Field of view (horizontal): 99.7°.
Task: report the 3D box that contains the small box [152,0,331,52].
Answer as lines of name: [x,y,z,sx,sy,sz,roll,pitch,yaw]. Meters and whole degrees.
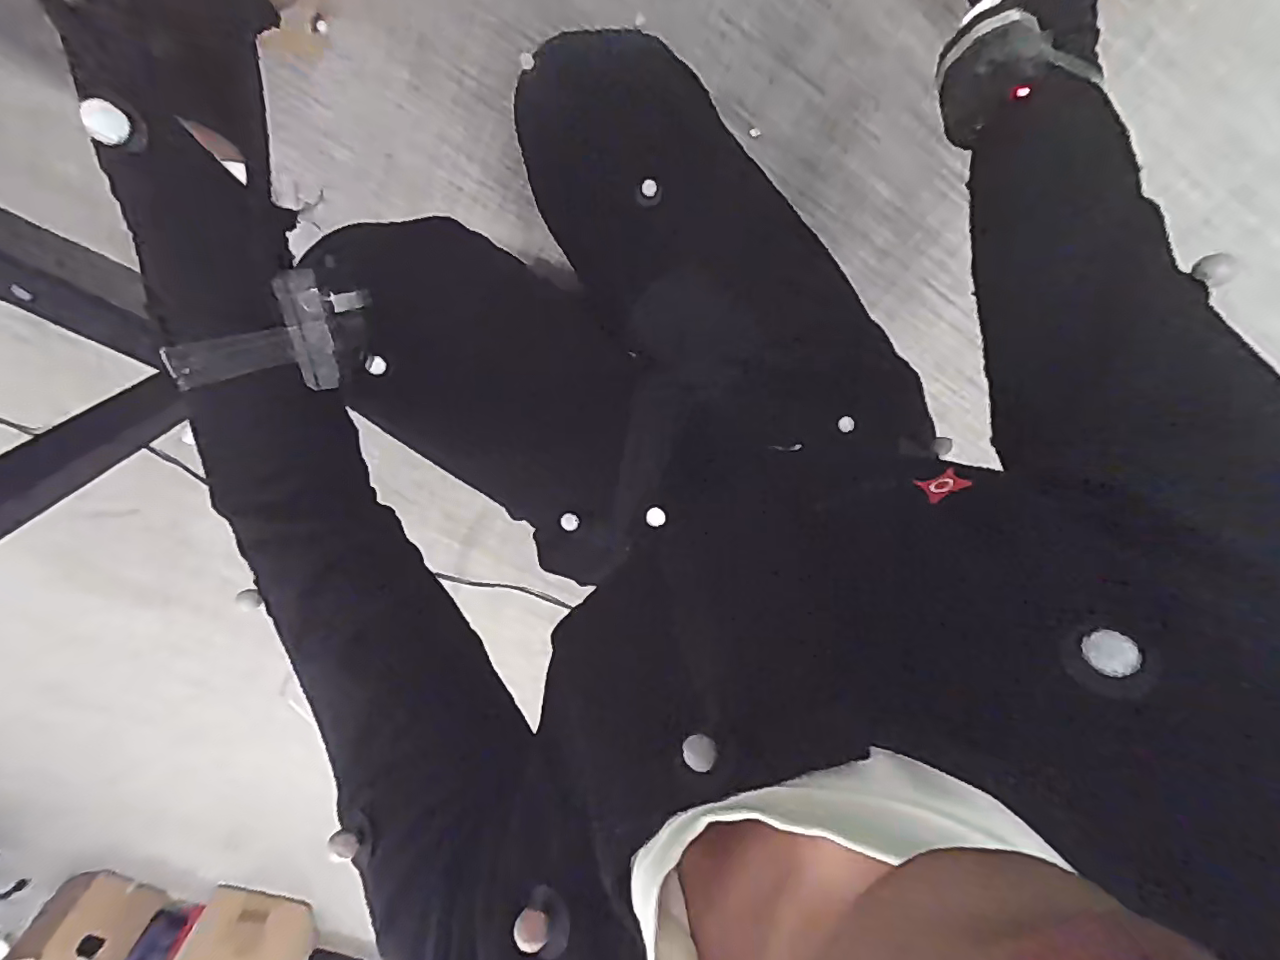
small box: [-0.404,-0.542,0.503,0.179,0.176,0.168,31,124,-13]
